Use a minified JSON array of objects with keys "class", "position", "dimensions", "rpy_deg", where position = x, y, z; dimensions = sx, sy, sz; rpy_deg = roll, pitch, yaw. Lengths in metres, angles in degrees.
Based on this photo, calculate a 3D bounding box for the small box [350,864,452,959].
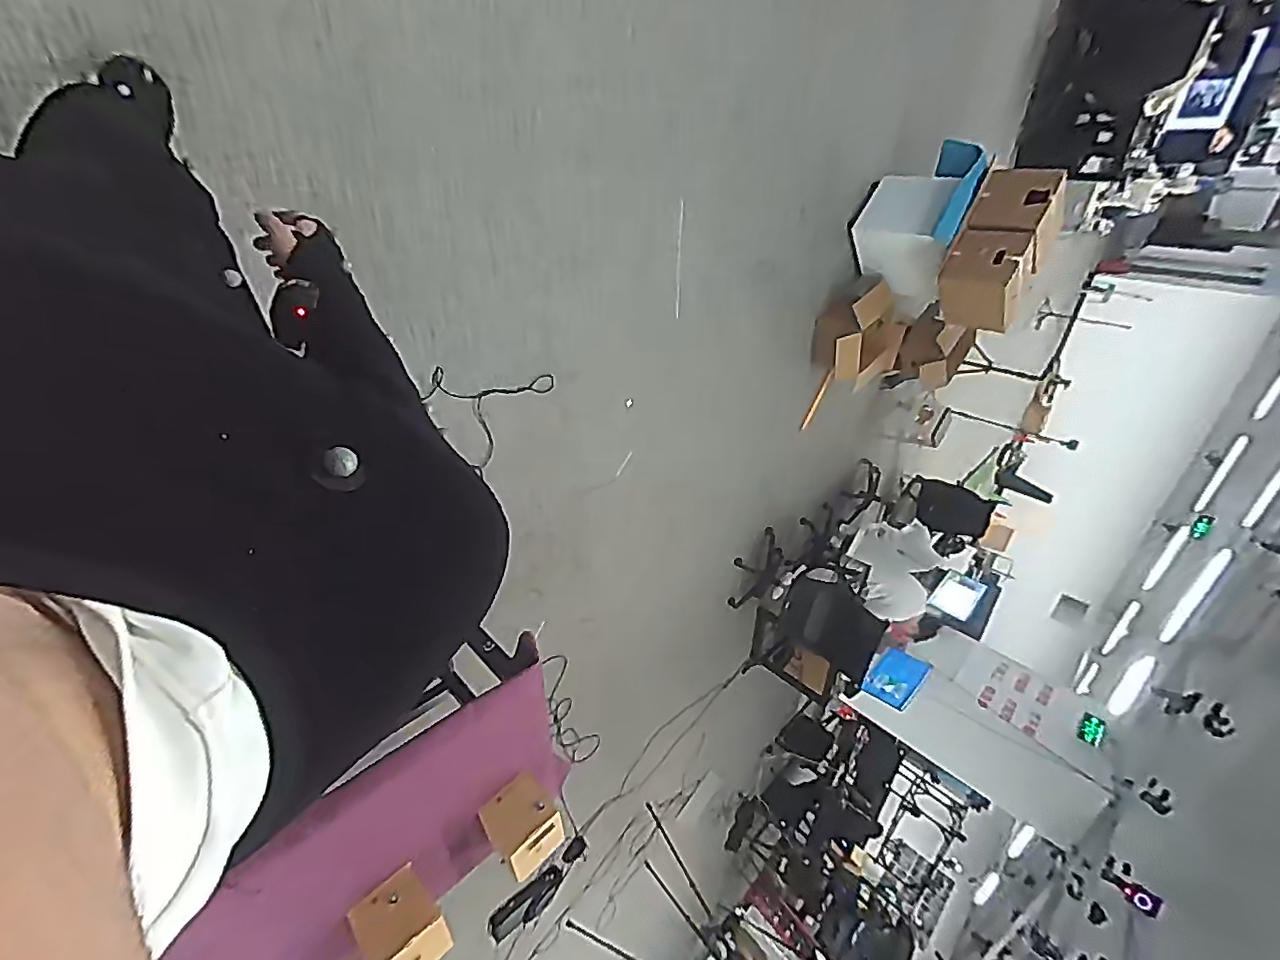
[{"class":"small box","position":[-0.599,1.124,1.360],"dimensions":[0.168,0.176,0.179],"rpy_deg":[-27,130,-36]}]
